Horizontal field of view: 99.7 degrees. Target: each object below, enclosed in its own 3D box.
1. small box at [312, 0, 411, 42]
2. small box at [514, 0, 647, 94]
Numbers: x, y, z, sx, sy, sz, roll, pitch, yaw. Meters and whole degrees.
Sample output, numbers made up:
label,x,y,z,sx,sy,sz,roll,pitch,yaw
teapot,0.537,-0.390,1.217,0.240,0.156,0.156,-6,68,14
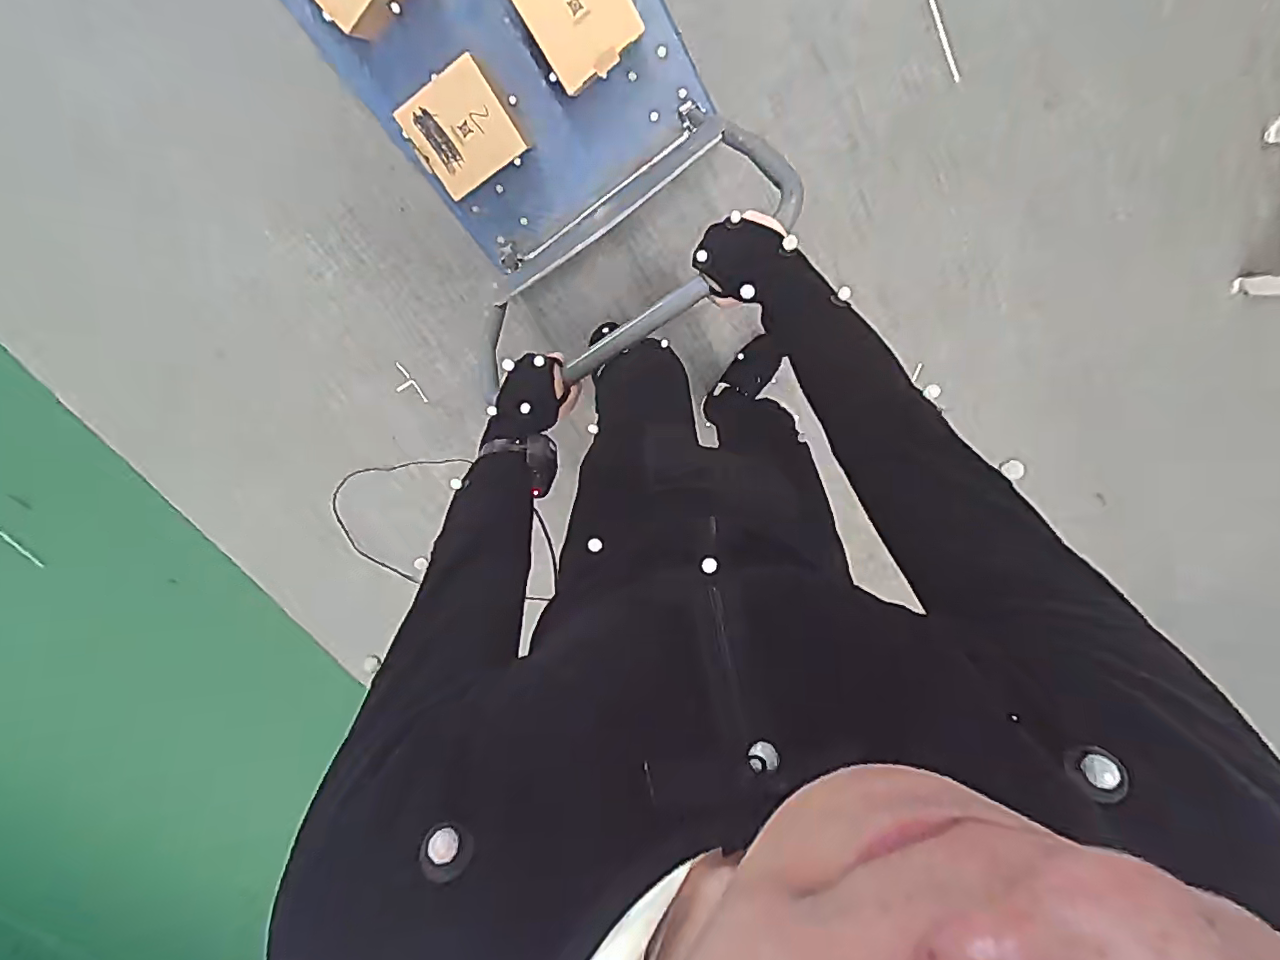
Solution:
label,x,y,z,sx,sy,sz,roll,pitch,yaw
small box,-0.478,-0.866,0.887,0.168,0.176,0.179,-37,120,19
small box,-0.107,-0.819,0.953,0.168,0.176,0.179,-31,123,17
